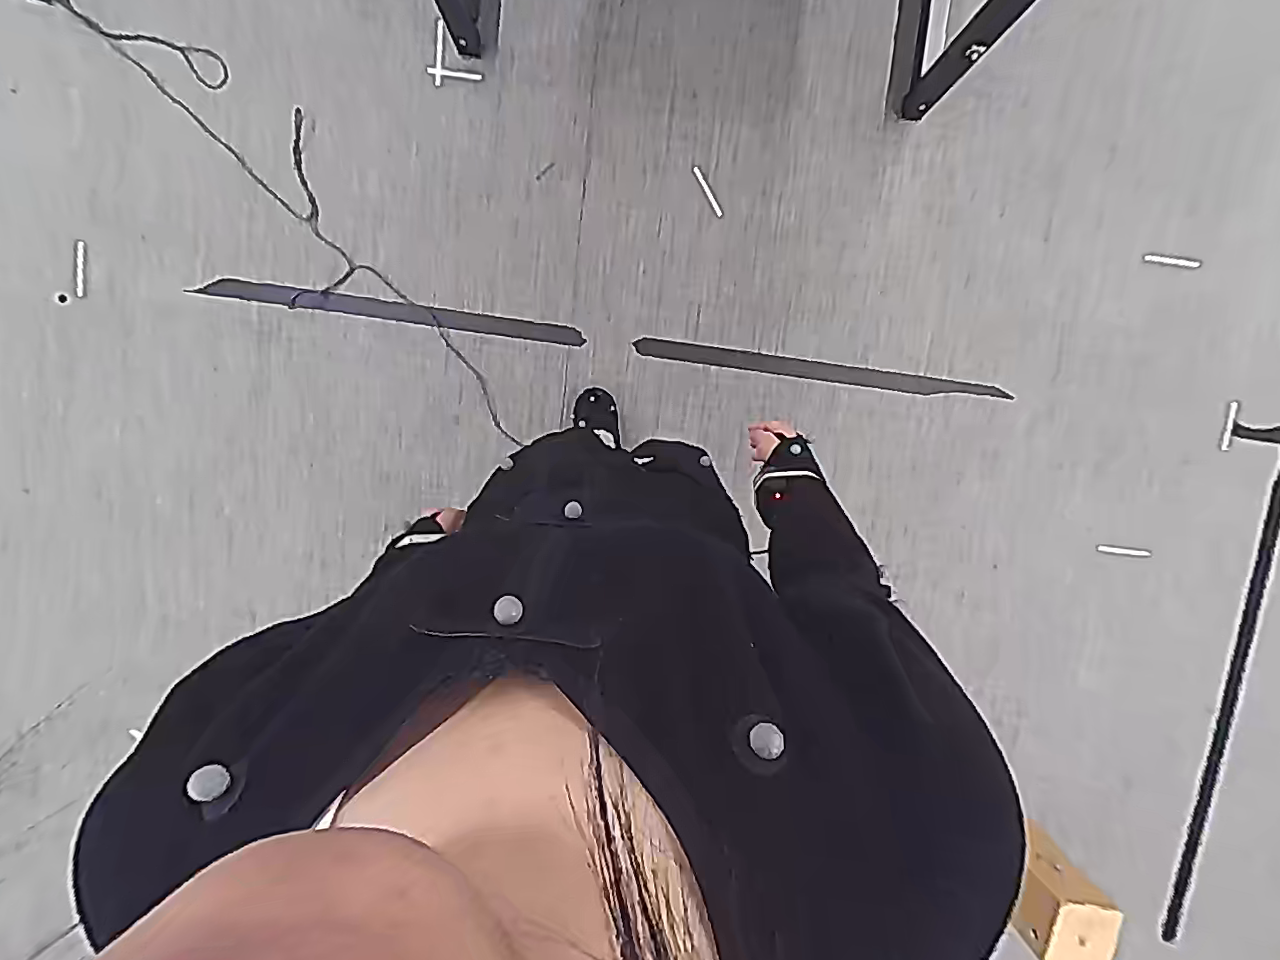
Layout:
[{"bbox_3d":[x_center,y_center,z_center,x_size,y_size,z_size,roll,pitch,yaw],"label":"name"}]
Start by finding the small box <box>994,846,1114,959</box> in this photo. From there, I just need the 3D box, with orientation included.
[{"bbox_3d":[1.069,1.108,1.413,0.168,0.176,0.179,10,96,-4],"label":"small box"}]
